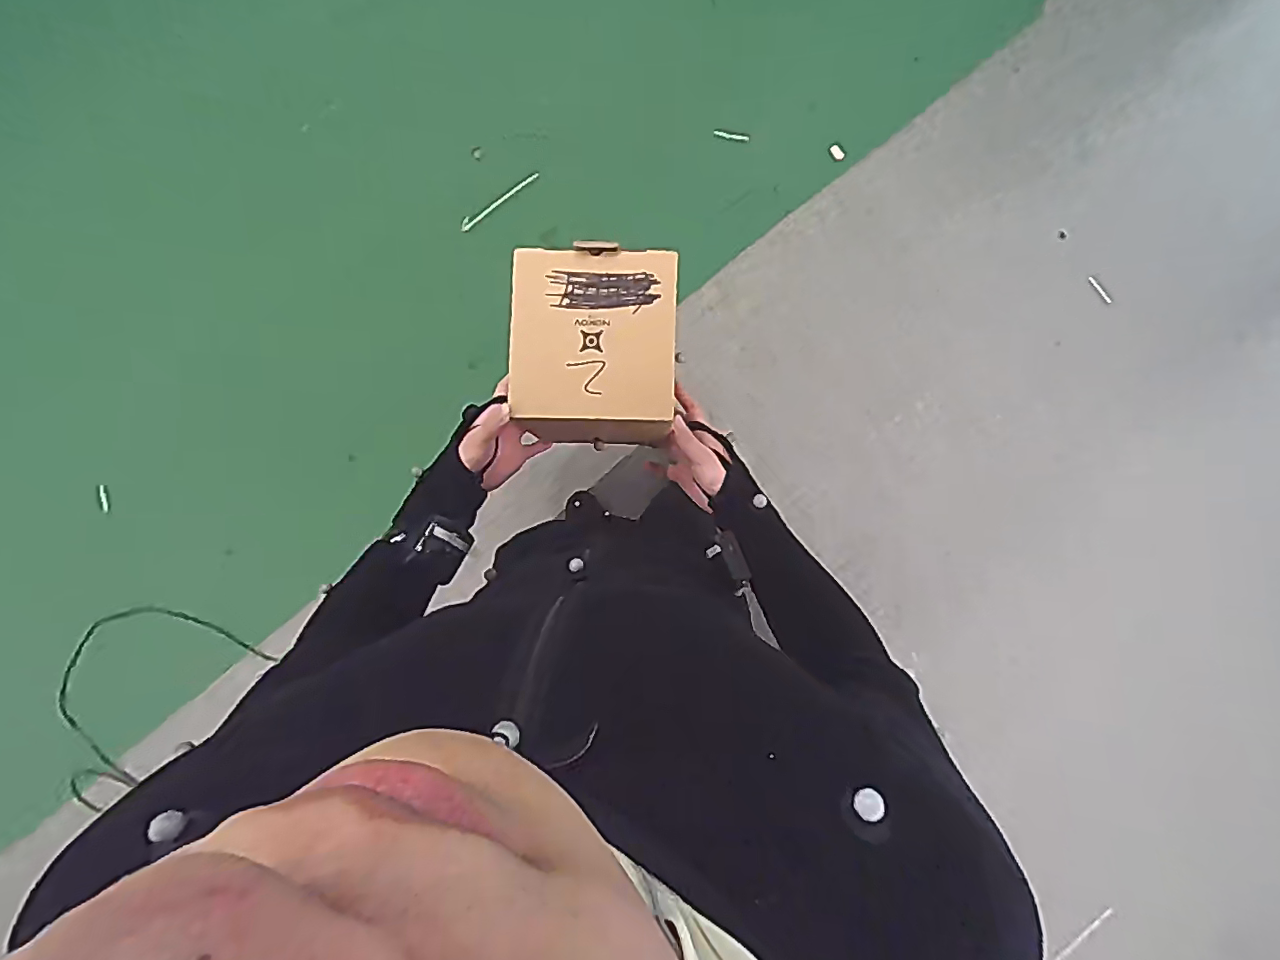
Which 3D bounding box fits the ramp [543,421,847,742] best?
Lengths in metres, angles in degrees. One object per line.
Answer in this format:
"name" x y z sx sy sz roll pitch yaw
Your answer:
"ramp" 0.205 0.342 1.710 0.509 0.206 0.991 -43 91 -3
